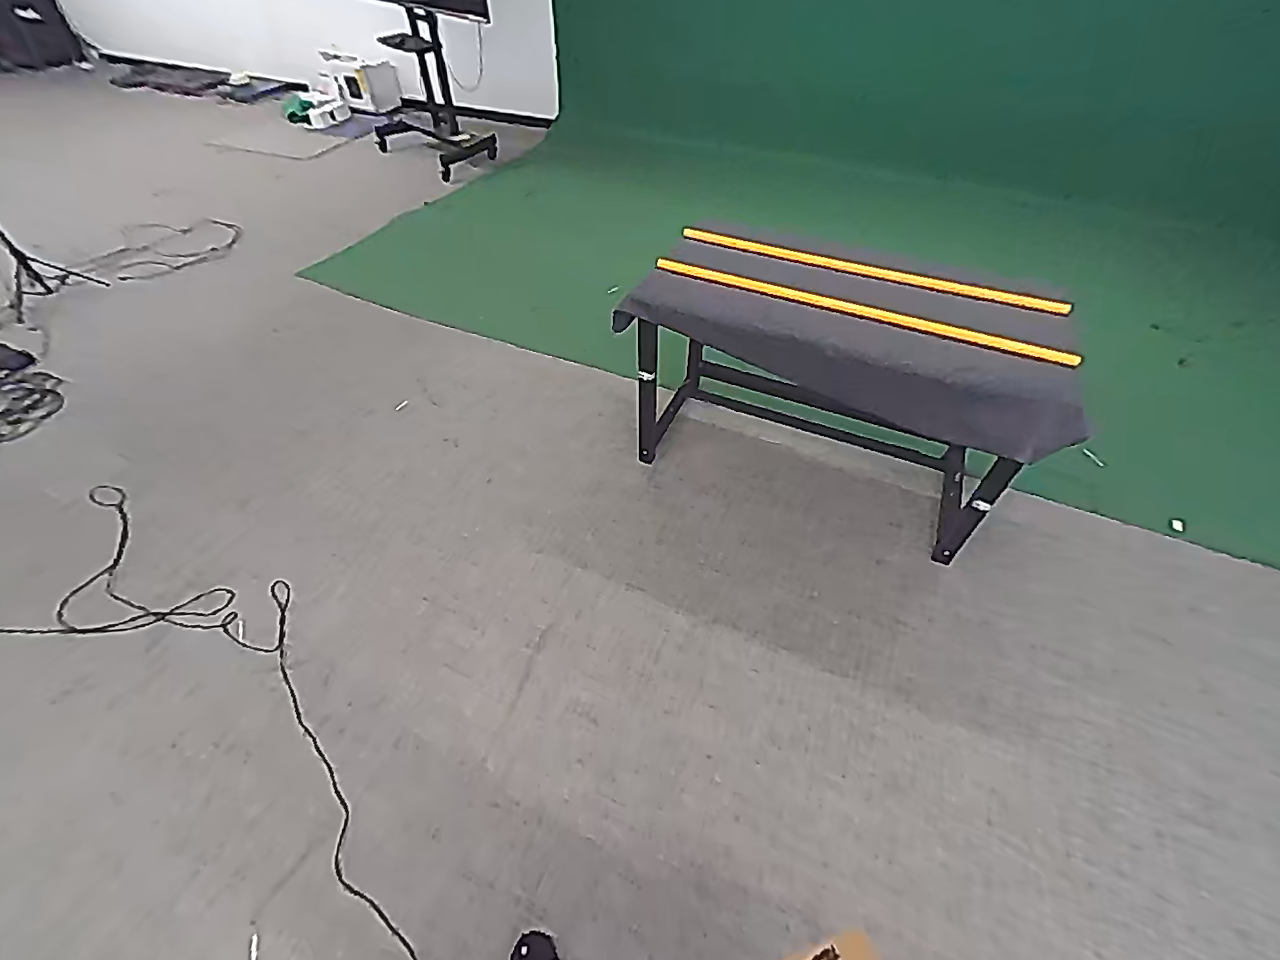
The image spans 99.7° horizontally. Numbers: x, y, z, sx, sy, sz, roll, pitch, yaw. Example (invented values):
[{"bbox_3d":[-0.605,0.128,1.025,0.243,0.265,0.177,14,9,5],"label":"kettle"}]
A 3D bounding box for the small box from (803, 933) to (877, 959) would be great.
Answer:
[{"bbox_3d":[0.269,0.730,0.657,0.168,0.179,0.176,-23,91,-3],"label":"small box"}]
